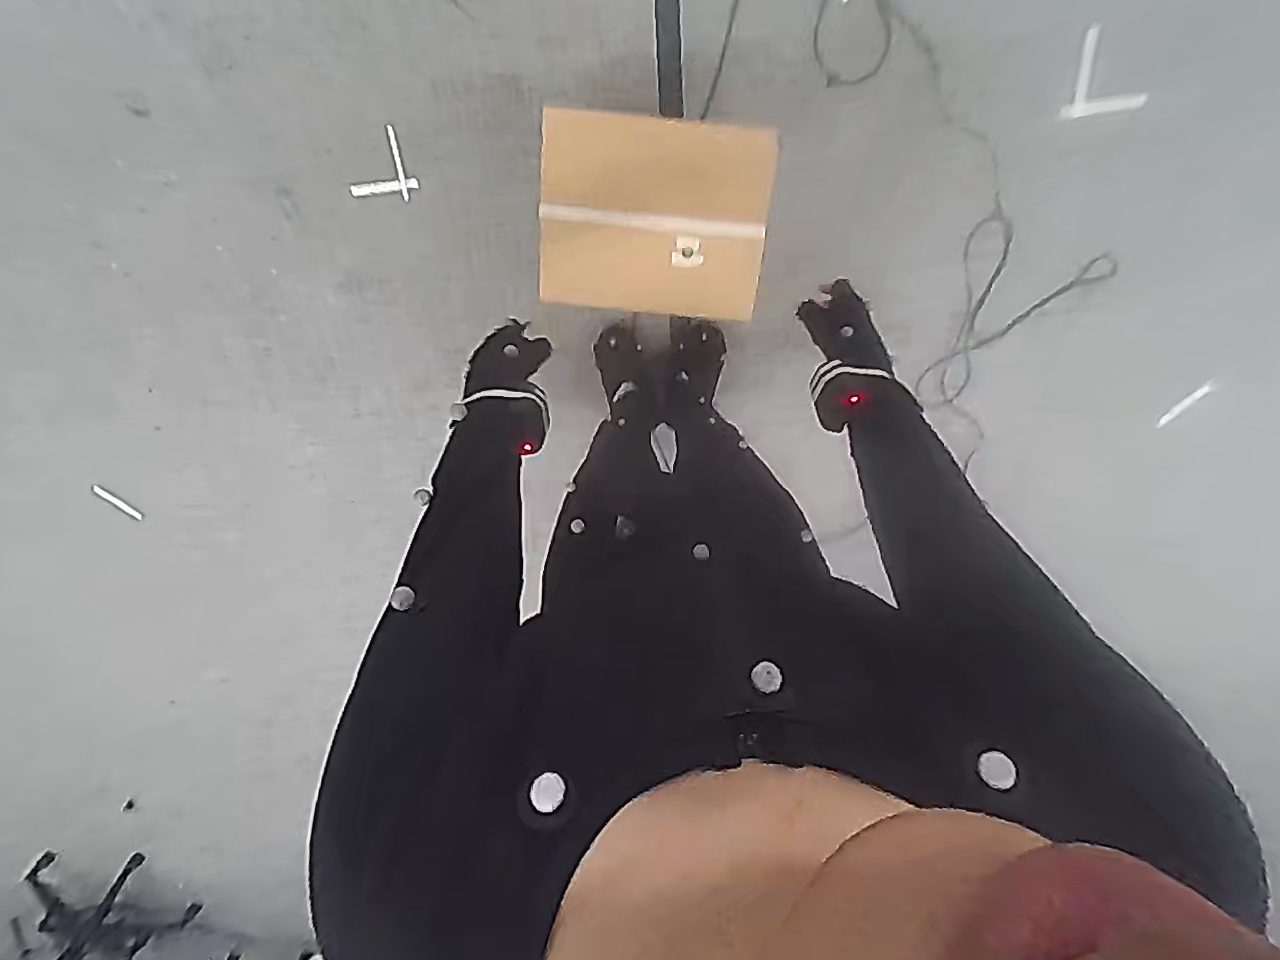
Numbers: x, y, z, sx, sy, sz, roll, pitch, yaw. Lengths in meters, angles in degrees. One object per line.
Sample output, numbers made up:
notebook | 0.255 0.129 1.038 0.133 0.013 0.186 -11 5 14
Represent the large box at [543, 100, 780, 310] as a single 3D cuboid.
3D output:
large box | 0.026 -0.529 1.093 0.408 0.320 0.320 4 113 -2
